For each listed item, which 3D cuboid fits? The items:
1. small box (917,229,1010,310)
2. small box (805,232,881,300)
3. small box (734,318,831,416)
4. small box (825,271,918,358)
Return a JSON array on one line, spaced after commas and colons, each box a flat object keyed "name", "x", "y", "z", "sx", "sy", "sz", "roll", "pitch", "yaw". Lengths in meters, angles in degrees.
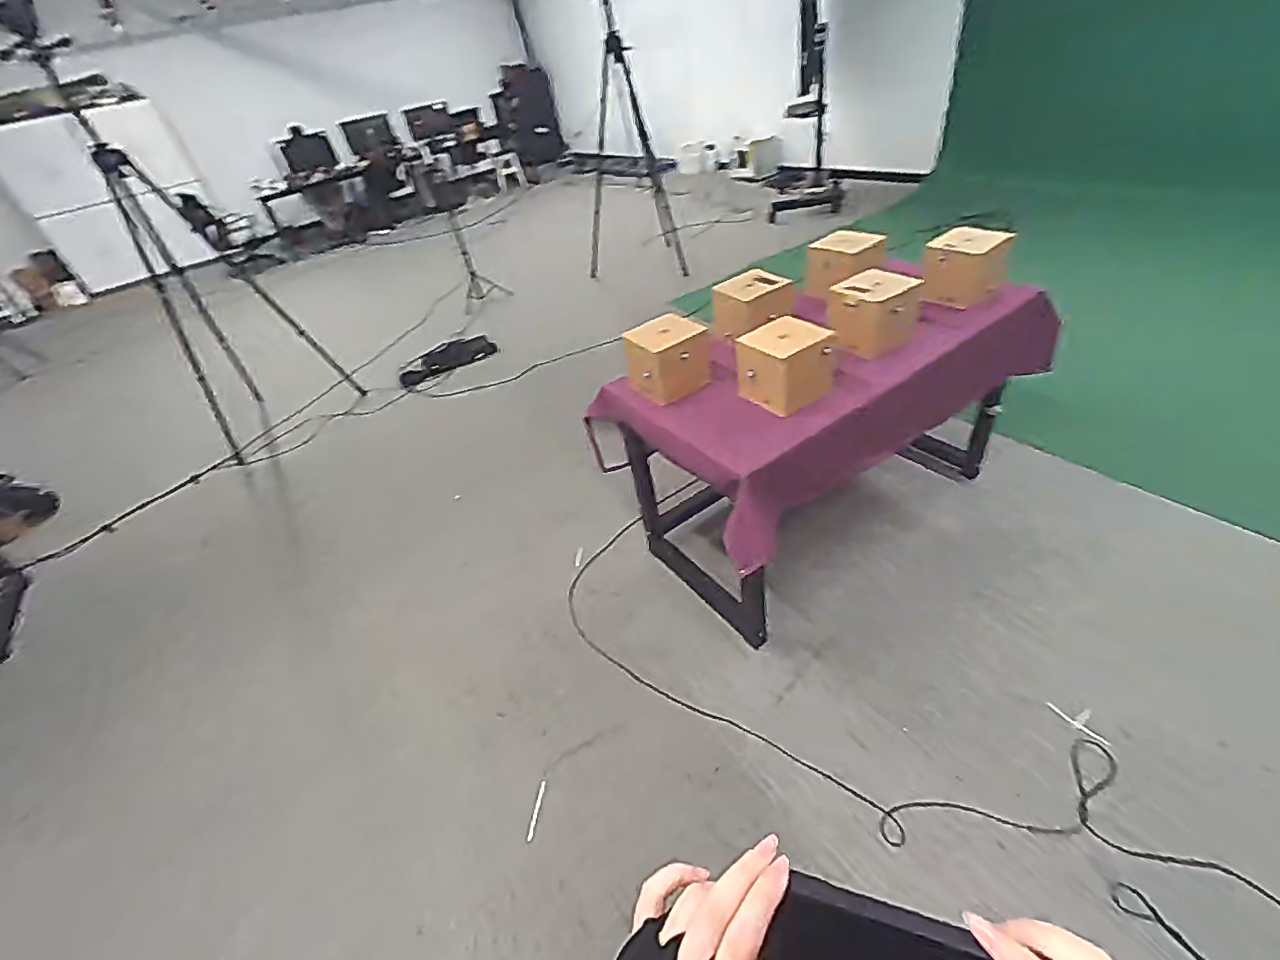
[{"name": "small box", "x": 0.966, "y": -0.636, "z": 1.631, "sx": 0.179, "sy": 0.176, "sz": 0.168, "roll": -31, "pitch": 42, "yaw": -21}, {"name": "small box", "x": 0.664, "y": -0.698, "z": 1.786, "sx": 0.168, "sy": 0.176, "sz": 0.179, "roll": -33, "pitch": 44, "yaw": -22}, {"name": "small box", "x": 0.363, "y": -0.287, "z": 1.376, "sx": 0.179, "sy": 0.176, "sz": 0.168, "roll": -28, "pitch": 42, "yaw": -20}, {"name": "small box", "x": 0.639, "y": -0.460, "z": 1.509, "sx": 0.179, "sy": 0.176, "sz": 0.168, "roll": -27, "pitch": 42, "yaw": -19}]
